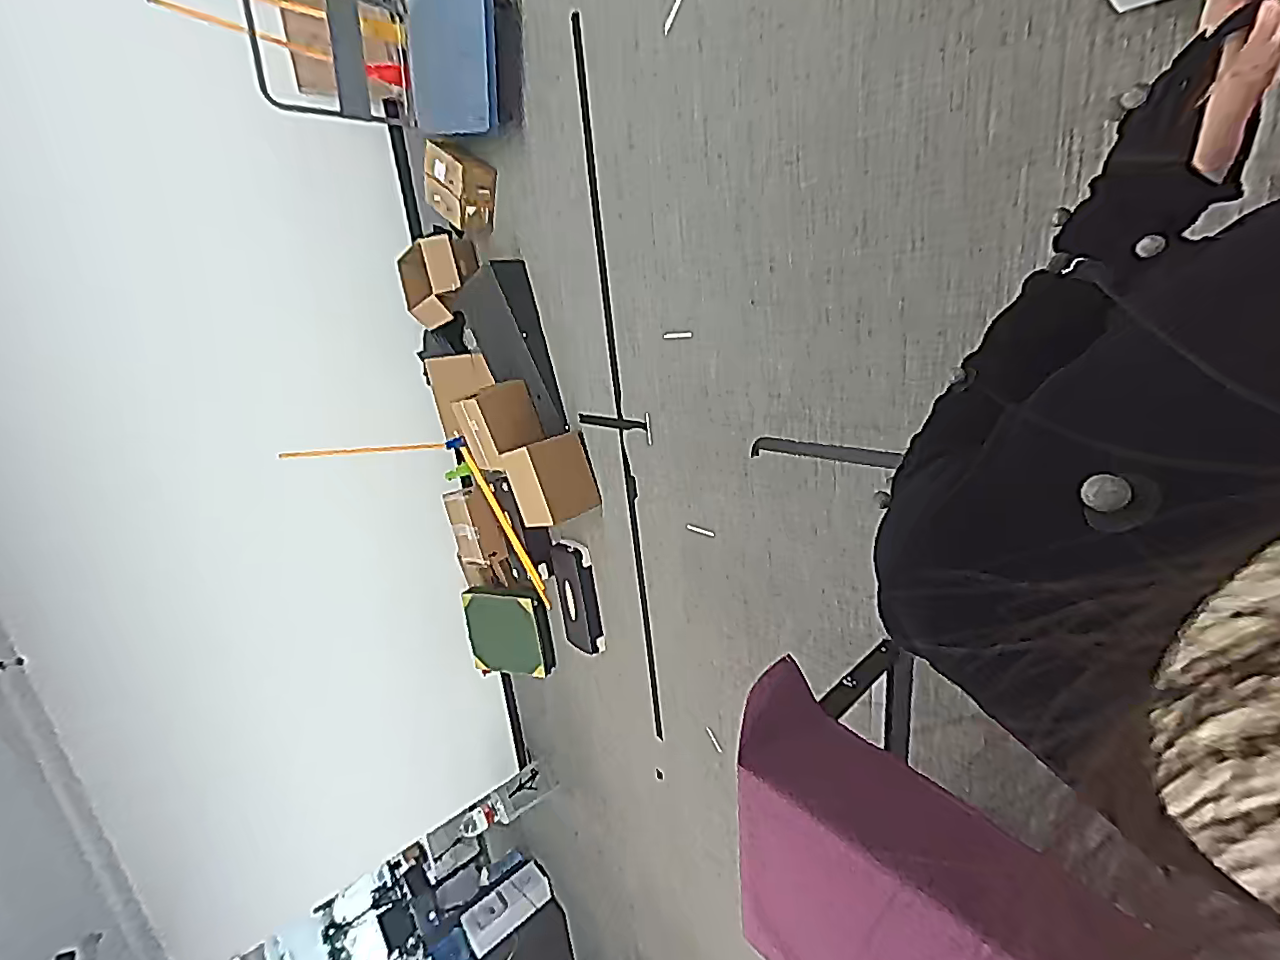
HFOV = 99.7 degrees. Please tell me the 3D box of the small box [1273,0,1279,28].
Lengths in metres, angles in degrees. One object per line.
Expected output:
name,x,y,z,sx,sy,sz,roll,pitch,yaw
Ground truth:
small box,0.341,-0.287,0.177,0.168,0.176,0.179,6,113,48
